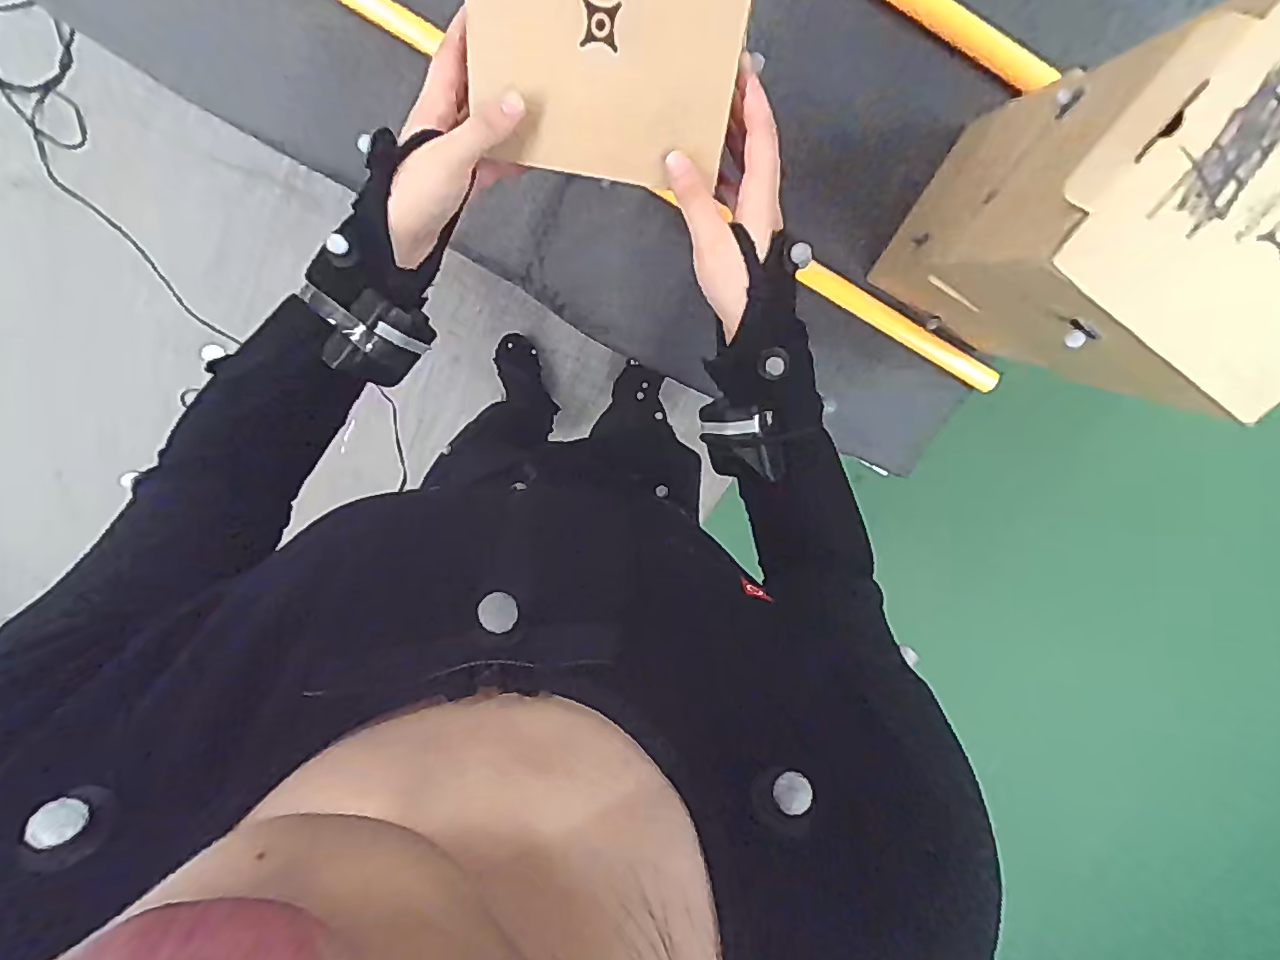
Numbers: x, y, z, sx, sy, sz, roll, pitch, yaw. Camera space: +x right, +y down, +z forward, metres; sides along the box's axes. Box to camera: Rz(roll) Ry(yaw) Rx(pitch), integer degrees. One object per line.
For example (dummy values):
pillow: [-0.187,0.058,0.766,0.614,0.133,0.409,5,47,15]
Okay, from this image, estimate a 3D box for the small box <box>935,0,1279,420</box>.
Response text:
small box: [0.349,-0.170,0.370,0.179,0.176,0.168,33,110,-8]
